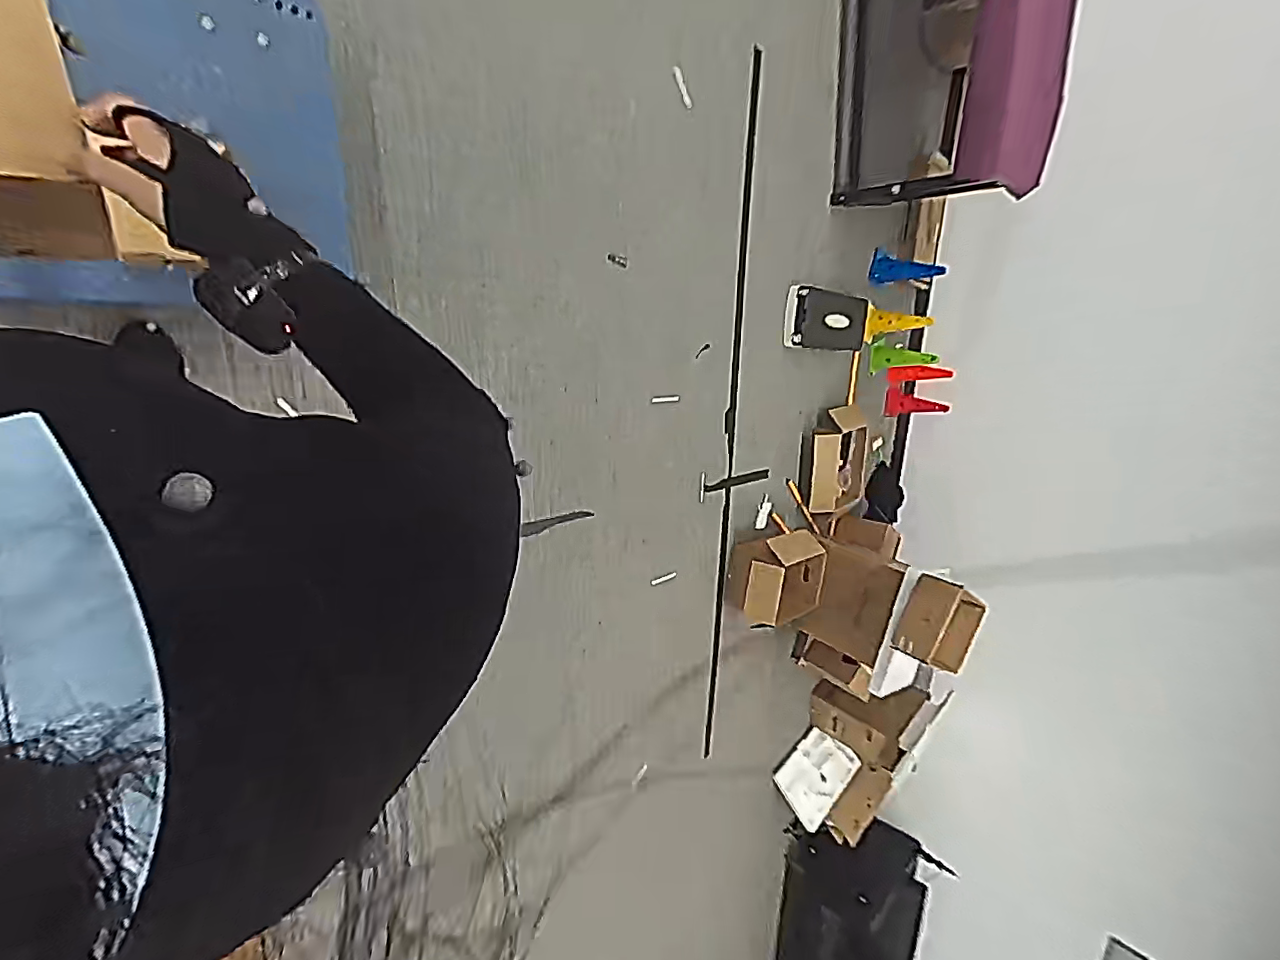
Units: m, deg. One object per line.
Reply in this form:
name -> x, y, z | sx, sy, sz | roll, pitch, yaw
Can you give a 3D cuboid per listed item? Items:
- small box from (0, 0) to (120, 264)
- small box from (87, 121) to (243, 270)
small box -> -0.523, -0.279, 0.399 | 0.168, 0.176, 0.179 | -17, 100, -39
small box -> -0.777, -0.447, 0.882 | 0.168, 0.176, 0.179 | -14, 112, -41
